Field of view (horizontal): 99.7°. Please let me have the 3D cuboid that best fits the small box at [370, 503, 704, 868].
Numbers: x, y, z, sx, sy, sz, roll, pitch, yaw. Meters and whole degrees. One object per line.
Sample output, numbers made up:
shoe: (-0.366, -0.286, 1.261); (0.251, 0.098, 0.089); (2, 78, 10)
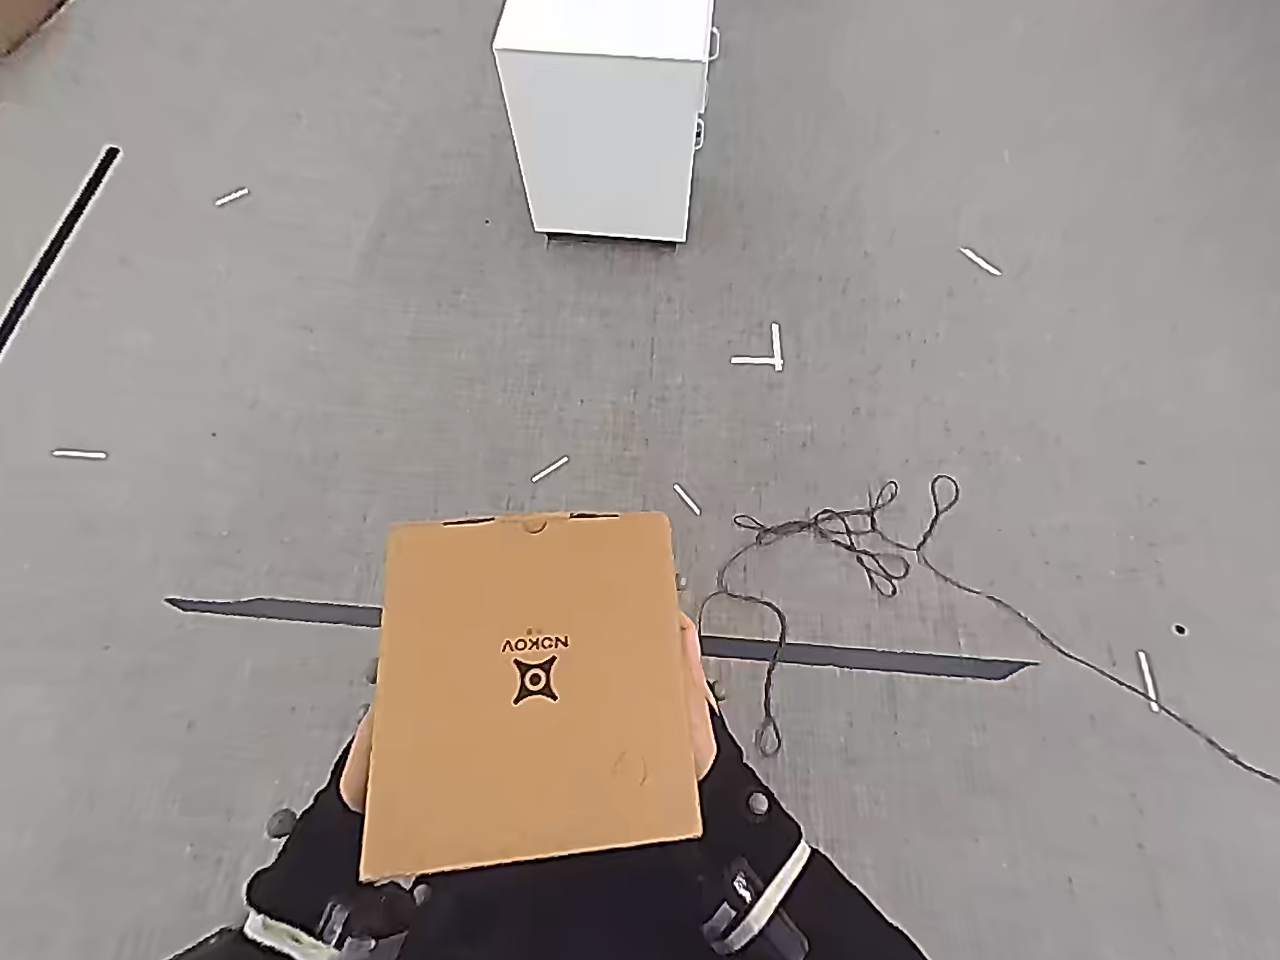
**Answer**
small box: (-0.062, 0.126, 0.365); (0.168, 0.176, 0.179); (-2, 69, -8)
